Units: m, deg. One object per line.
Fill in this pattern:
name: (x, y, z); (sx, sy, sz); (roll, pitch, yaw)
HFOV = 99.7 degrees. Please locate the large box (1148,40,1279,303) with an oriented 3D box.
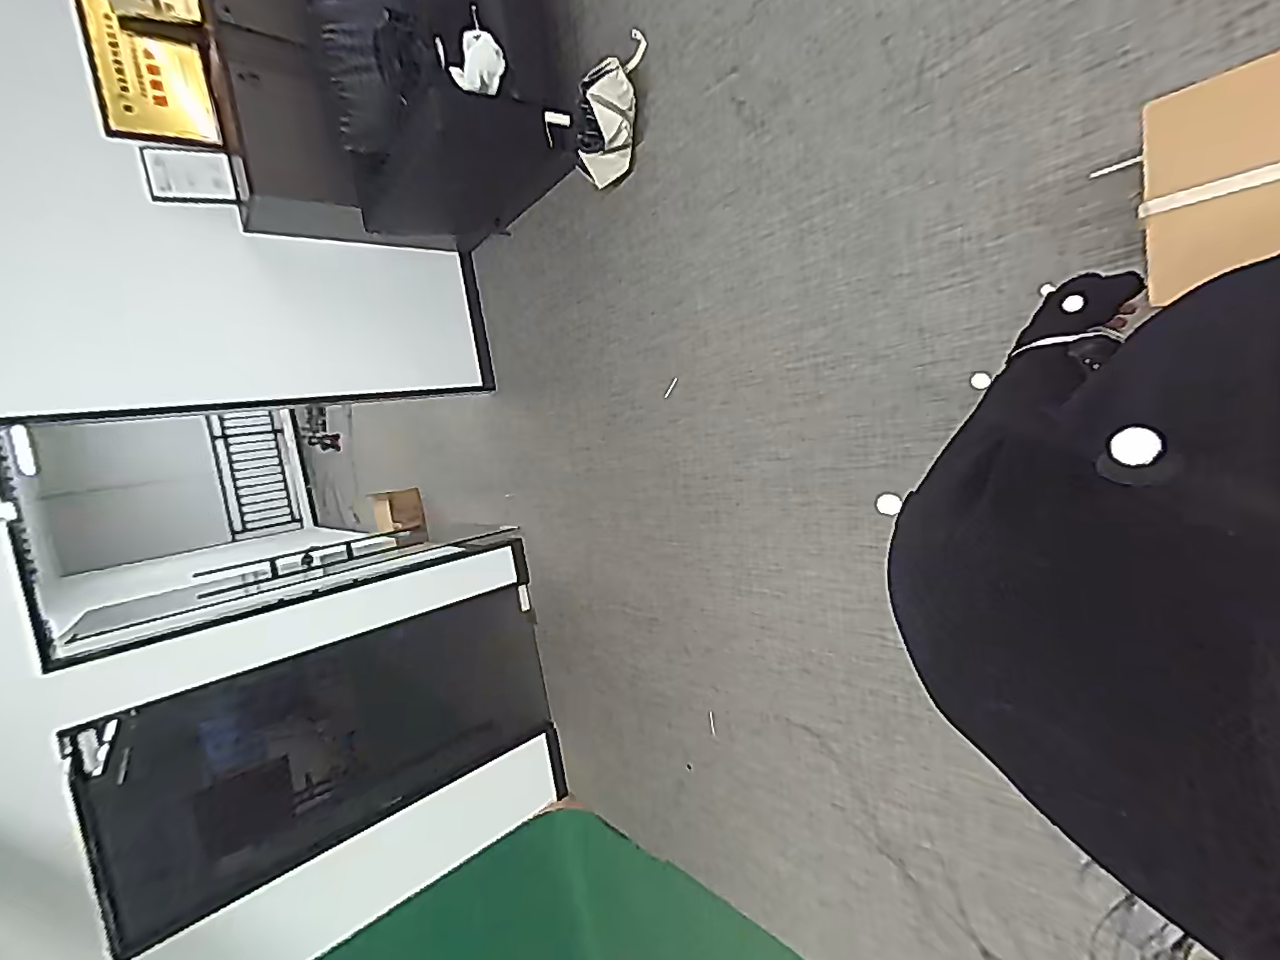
large box: (1.044, -0.471, 0.792); (0.408, 0.320, 0.320); (-1, 100, 50)
